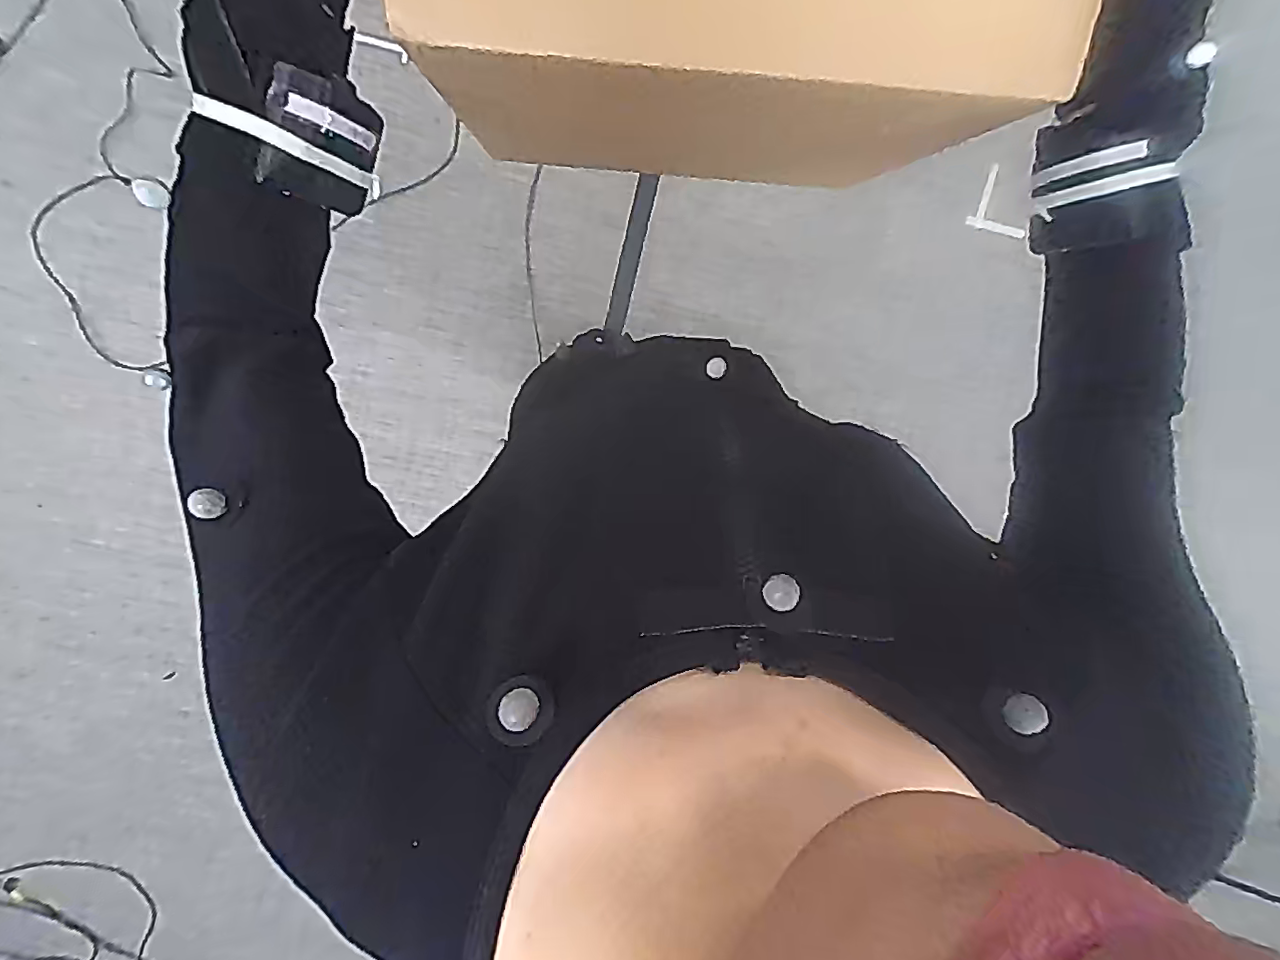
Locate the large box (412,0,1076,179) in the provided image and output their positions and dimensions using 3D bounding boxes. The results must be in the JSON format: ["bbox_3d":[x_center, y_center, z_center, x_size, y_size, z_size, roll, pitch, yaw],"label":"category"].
[{"bbox_3d":[0.057,-0.440,0.417,0.408,0.320,0.320,0,110,-6],"label":"large box"}]
